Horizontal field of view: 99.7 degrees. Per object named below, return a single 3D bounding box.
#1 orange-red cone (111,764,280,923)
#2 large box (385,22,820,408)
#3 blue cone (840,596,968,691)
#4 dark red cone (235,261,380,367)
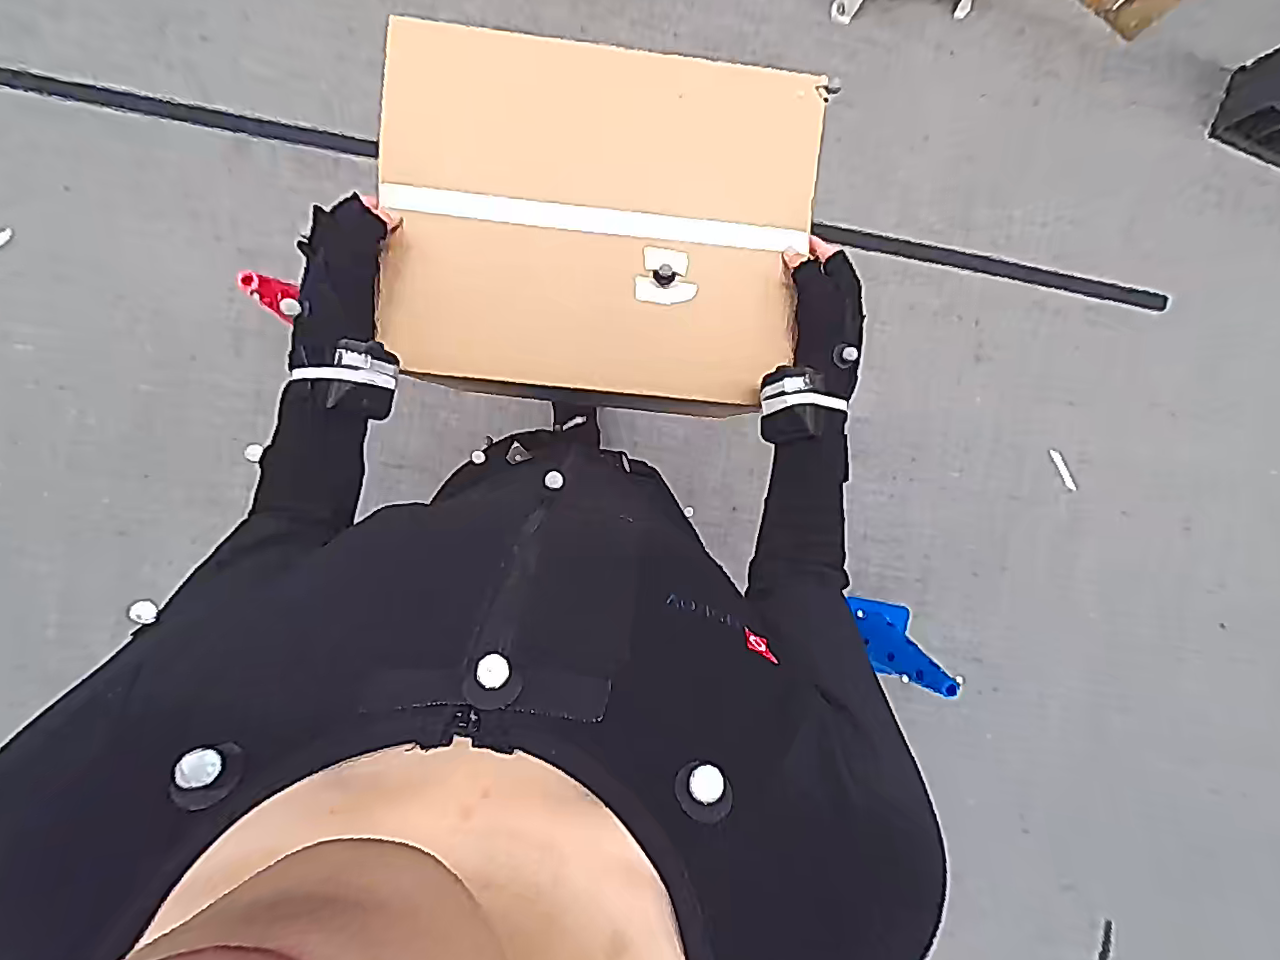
[{"bbox_3d":[-1.054,0.869,1.265,0.198,0.360,0.199,7,93,-3],"label":"orange-red cone"},{"bbox_3d":[-0.046,-0.265,0.664,0.408,0.320,0.320,5,95,-4],"label":"large box"},{"bbox_3d":[0.679,0.436,1.368,0.192,0.380,0.193,13,92,-5],"label":"blue cone"},{"bbox_3d":[-0.760,-0.396,1.205,0.201,0.394,0.202,16,92,-5],"label":"dark red cone"}]
